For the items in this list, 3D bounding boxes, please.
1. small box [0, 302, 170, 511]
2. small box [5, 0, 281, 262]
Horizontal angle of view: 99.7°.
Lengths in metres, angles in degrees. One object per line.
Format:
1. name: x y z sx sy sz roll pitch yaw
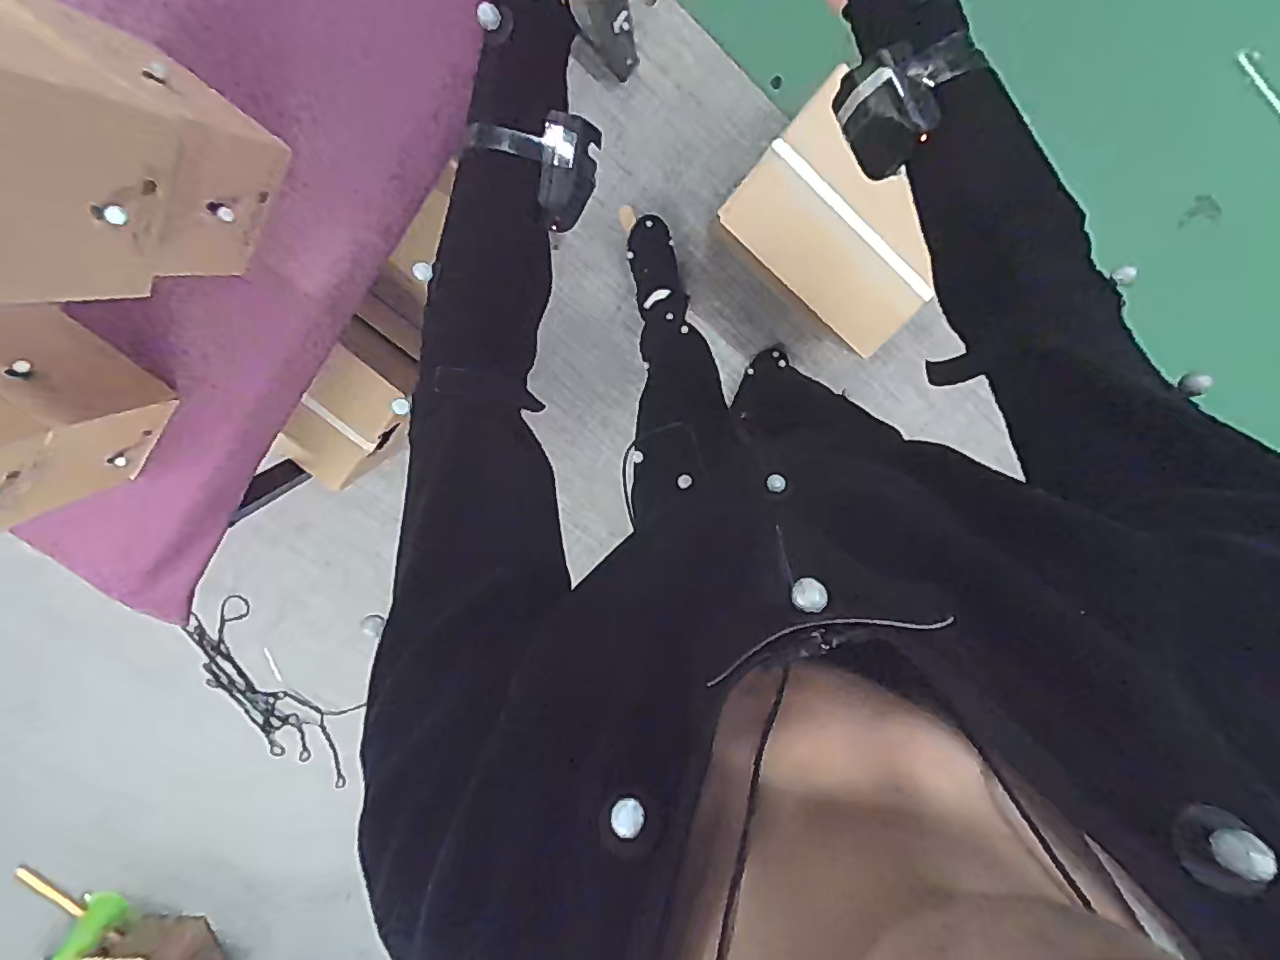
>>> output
1. small box: -0.740 -0.095 0.649 0.179 0.176 0.168 41 108 -13
2. small box: -0.509 -0.341 0.536 0.179 0.176 0.168 36 109 -10
